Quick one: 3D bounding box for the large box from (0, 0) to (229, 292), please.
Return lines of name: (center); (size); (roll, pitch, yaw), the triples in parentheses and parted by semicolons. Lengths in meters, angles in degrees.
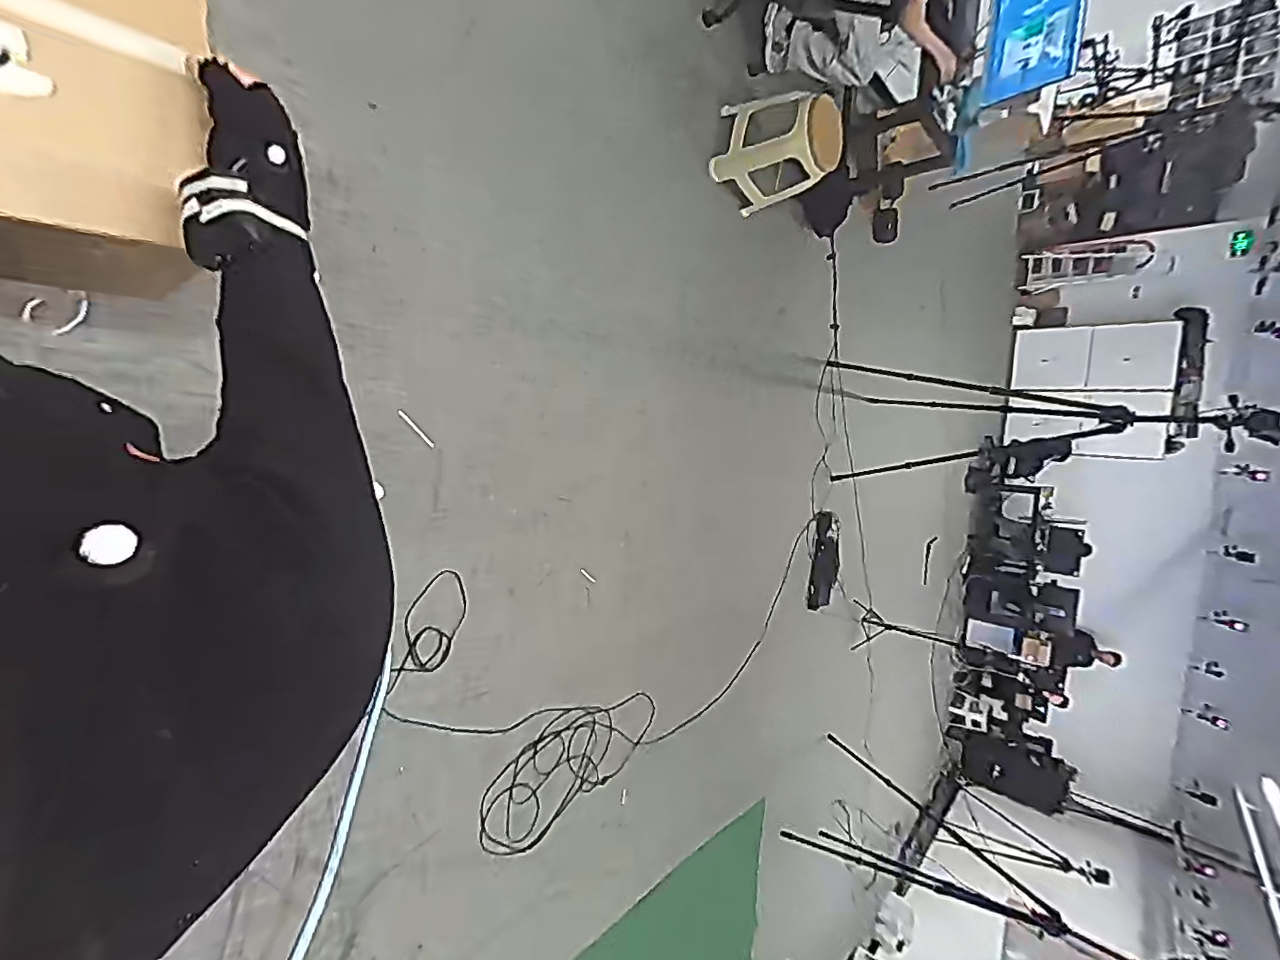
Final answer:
large box: (-0.634, -0.365, 0.442); (0.408, 0.320, 0.320); (-7, 100, -49)
